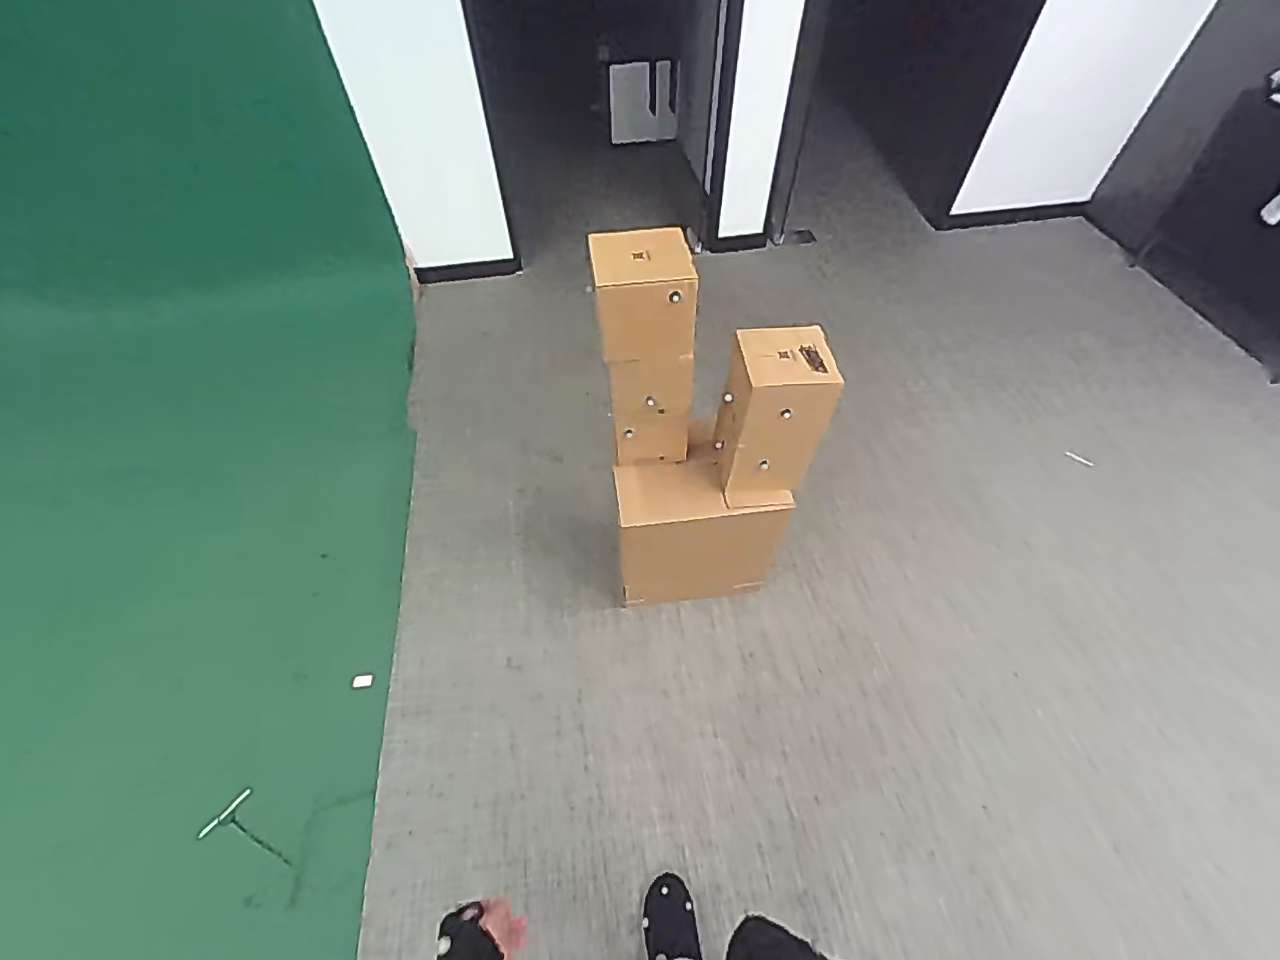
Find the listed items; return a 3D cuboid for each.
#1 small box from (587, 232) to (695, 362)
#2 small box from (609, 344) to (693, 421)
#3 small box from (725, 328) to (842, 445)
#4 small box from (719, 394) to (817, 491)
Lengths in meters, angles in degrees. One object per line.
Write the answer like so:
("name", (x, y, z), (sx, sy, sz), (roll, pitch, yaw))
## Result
("small box", (0.002, -0.339, 1.018), (0.179, 0.176, 0.168), (-7, 54, -4))
("small box", (0.019, -0.246, 1.152), (0.168, 0.176, 0.179), (-3, 54, 0))
("small box", (0.282, -0.186, 1.100), (0.179, 0.176, 0.168), (-4, 54, -2))
("small box", (0.278, -0.088, 1.231), (0.179, 0.176, 0.168), (-5, 56, -2))
